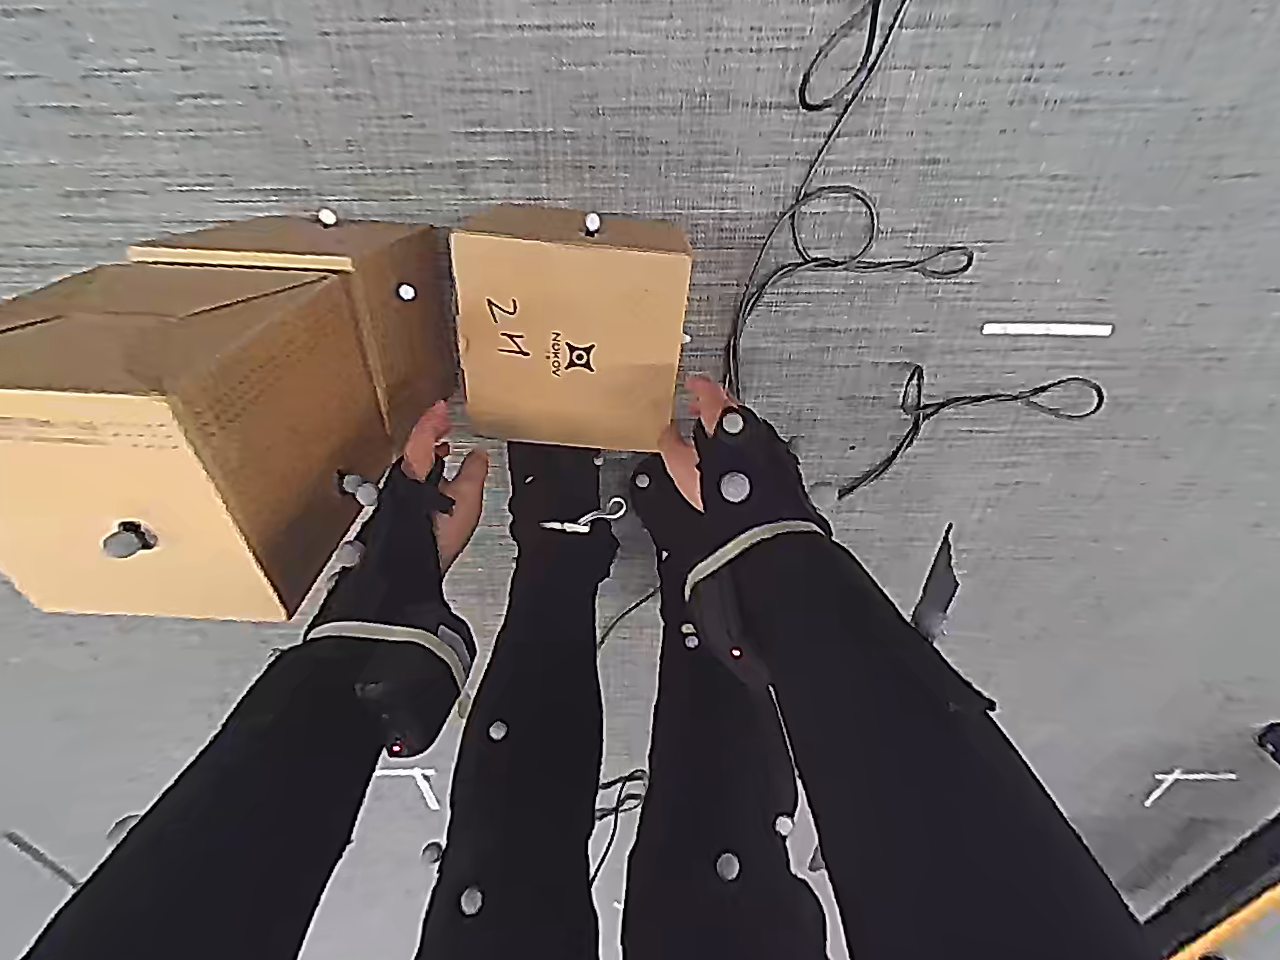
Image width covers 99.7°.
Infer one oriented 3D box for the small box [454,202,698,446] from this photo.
[{"bbox_3d":[-0.052,-0.147,0.490,0.179,0.176,0.168,5,122,-2],"label":"small box"}]
